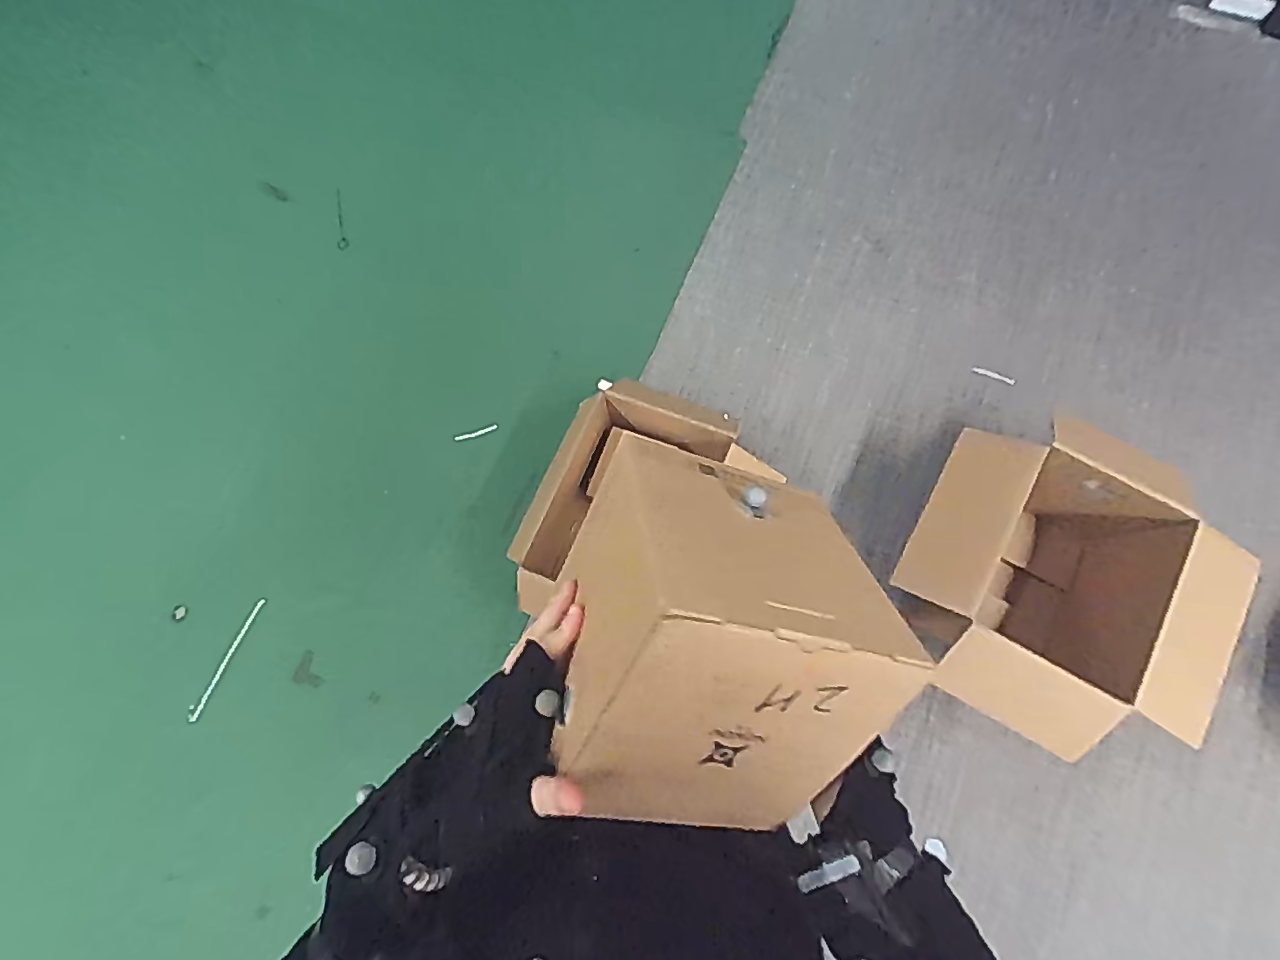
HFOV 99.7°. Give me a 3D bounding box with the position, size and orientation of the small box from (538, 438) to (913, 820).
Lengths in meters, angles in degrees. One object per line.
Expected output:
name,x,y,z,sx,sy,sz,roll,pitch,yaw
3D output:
small box,0.036,0.100,0.377,0.168,0.176,0.179,15,118,-17
